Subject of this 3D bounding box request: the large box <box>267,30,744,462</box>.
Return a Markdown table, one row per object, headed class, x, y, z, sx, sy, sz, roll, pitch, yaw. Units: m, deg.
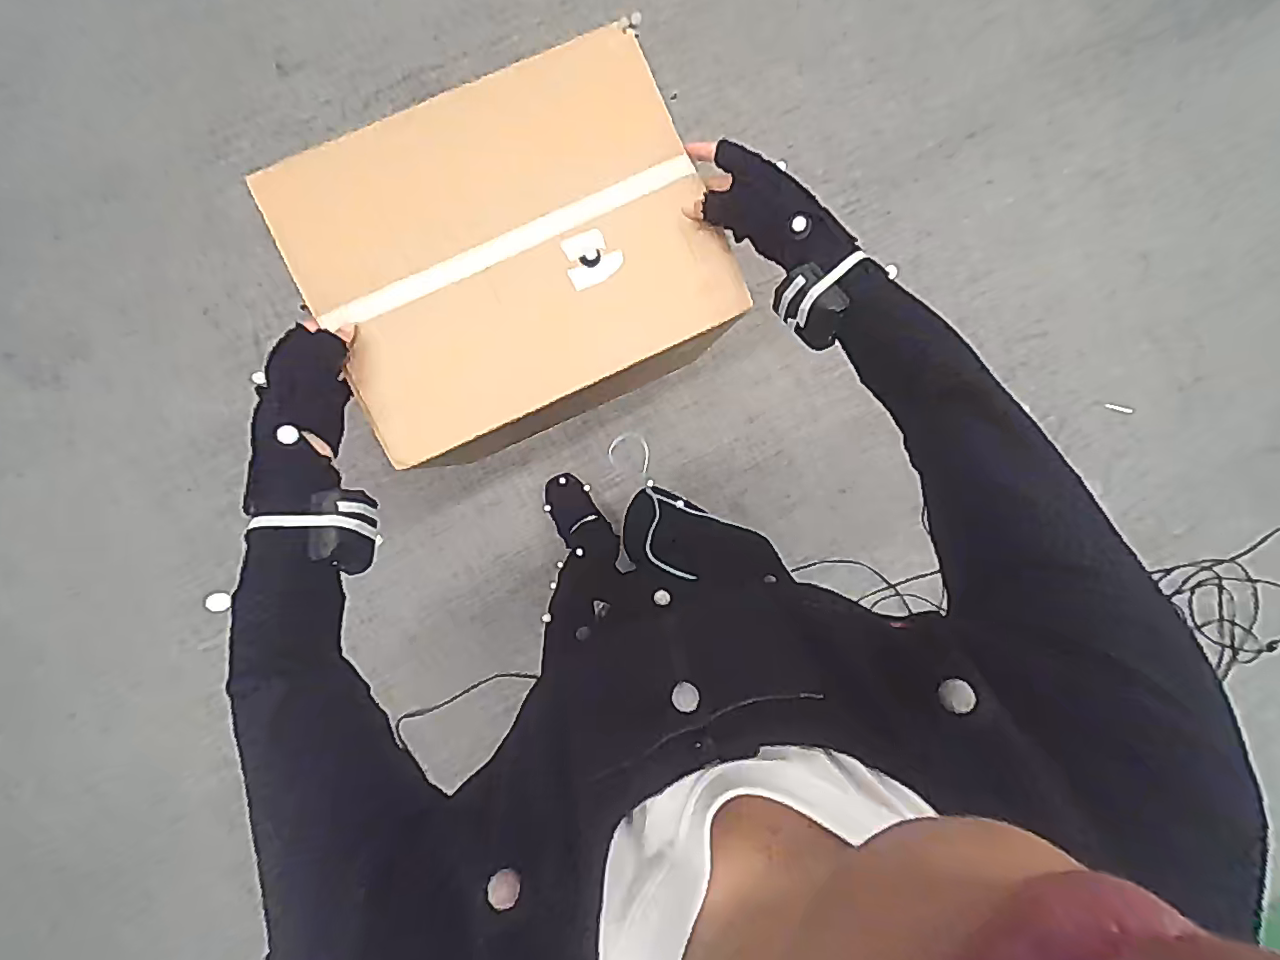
| class | x | y | z | sx | sy | sz | roll | pitch | yaw |
| --- | --- | --- | --- | --- | --- | --- | --- | --- | --- |
| large box | -0.142 | -0.245 | 0.700 | 0.408 | 0.320 | 0.320 | -26 | 95 | -4 |
